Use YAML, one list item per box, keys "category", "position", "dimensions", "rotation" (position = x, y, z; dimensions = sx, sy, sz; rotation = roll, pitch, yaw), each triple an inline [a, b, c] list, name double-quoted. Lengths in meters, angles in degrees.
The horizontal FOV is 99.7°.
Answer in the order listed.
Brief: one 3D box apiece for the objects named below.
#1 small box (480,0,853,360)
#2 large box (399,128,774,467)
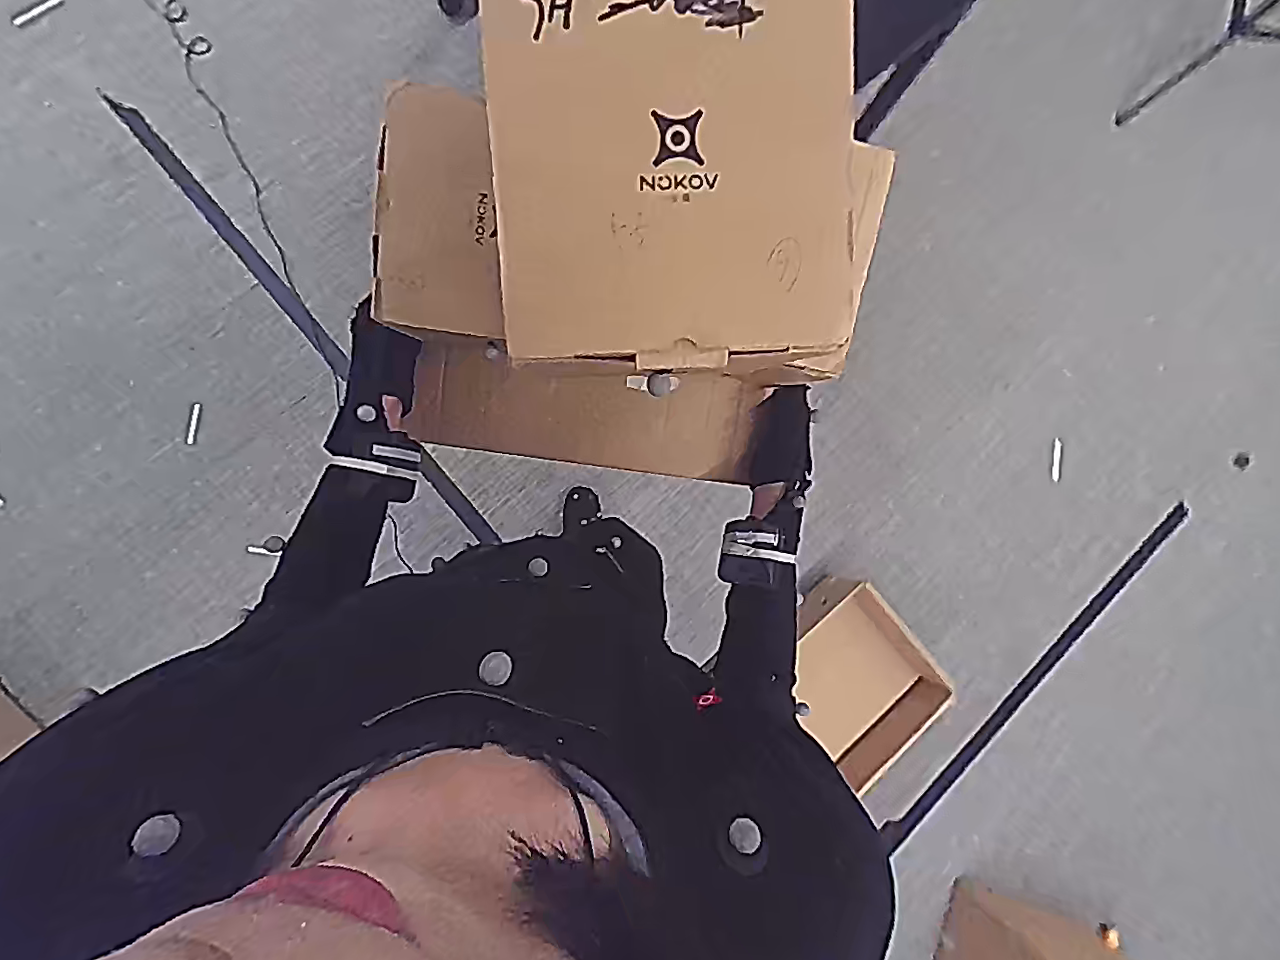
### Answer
- category: "small box"
  position: [0.008, -0.165, 0.322]
  dimensions: [0.168, 0.176, 0.179]
  rotation: [-4, 99, -5]
- category: "large box"
  position: [-0.062, -0.200, 0.722]
  dimensions: [0.408, 0.320, 0.320]
  rotation: [6, 97, -7]
